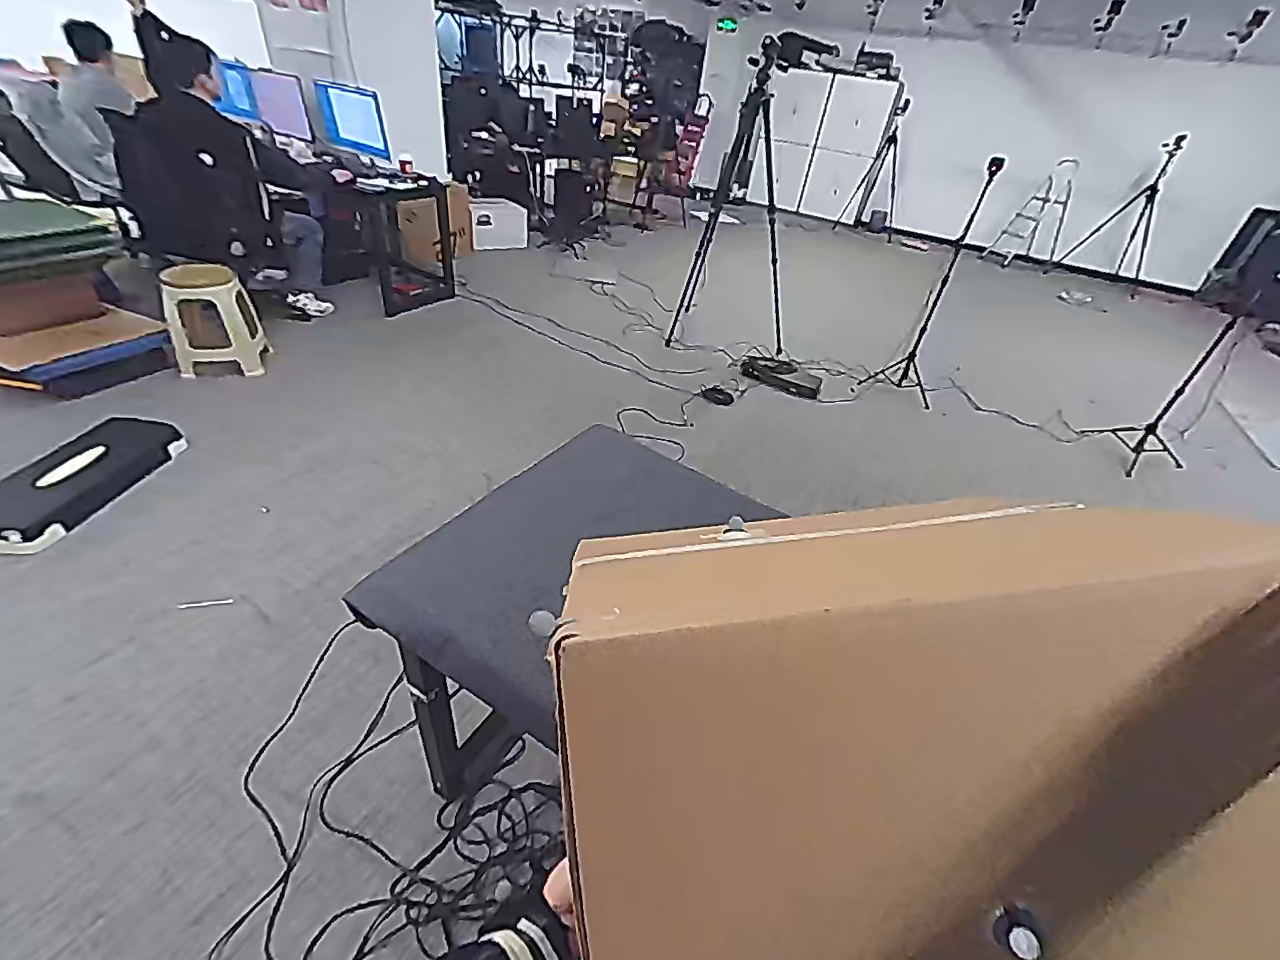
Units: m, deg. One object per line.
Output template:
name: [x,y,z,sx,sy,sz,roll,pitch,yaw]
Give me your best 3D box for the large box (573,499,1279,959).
large box: [0.172,0.204,0.424,0.408,0.320,0.320,-8,2,-4]
